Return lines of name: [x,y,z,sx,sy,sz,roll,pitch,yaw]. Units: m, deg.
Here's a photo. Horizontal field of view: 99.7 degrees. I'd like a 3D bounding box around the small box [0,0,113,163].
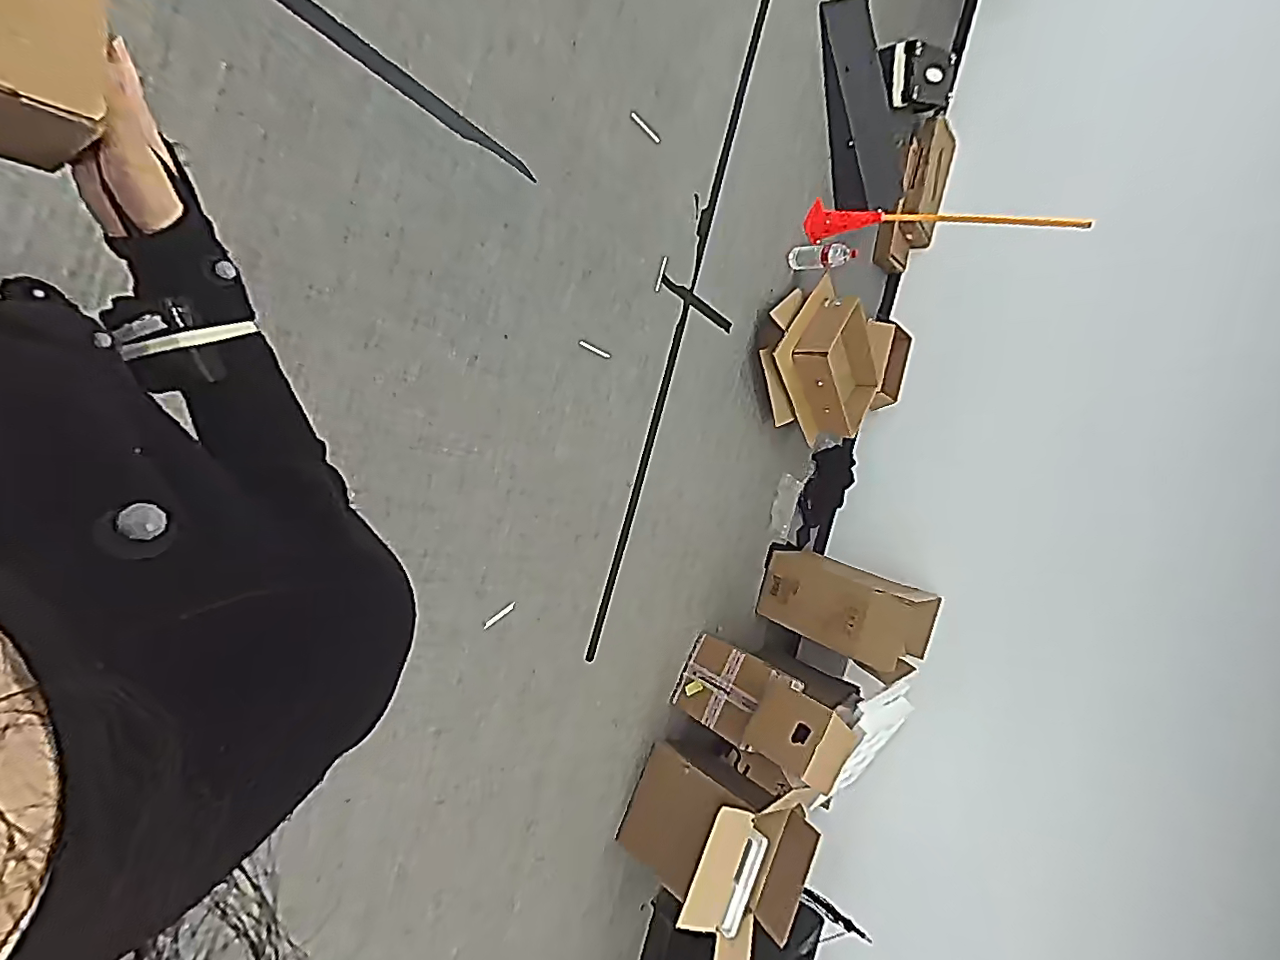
small box: [-0.382,-0.283,0.262,0.168,0.176,0.179,-3,104,-53]
